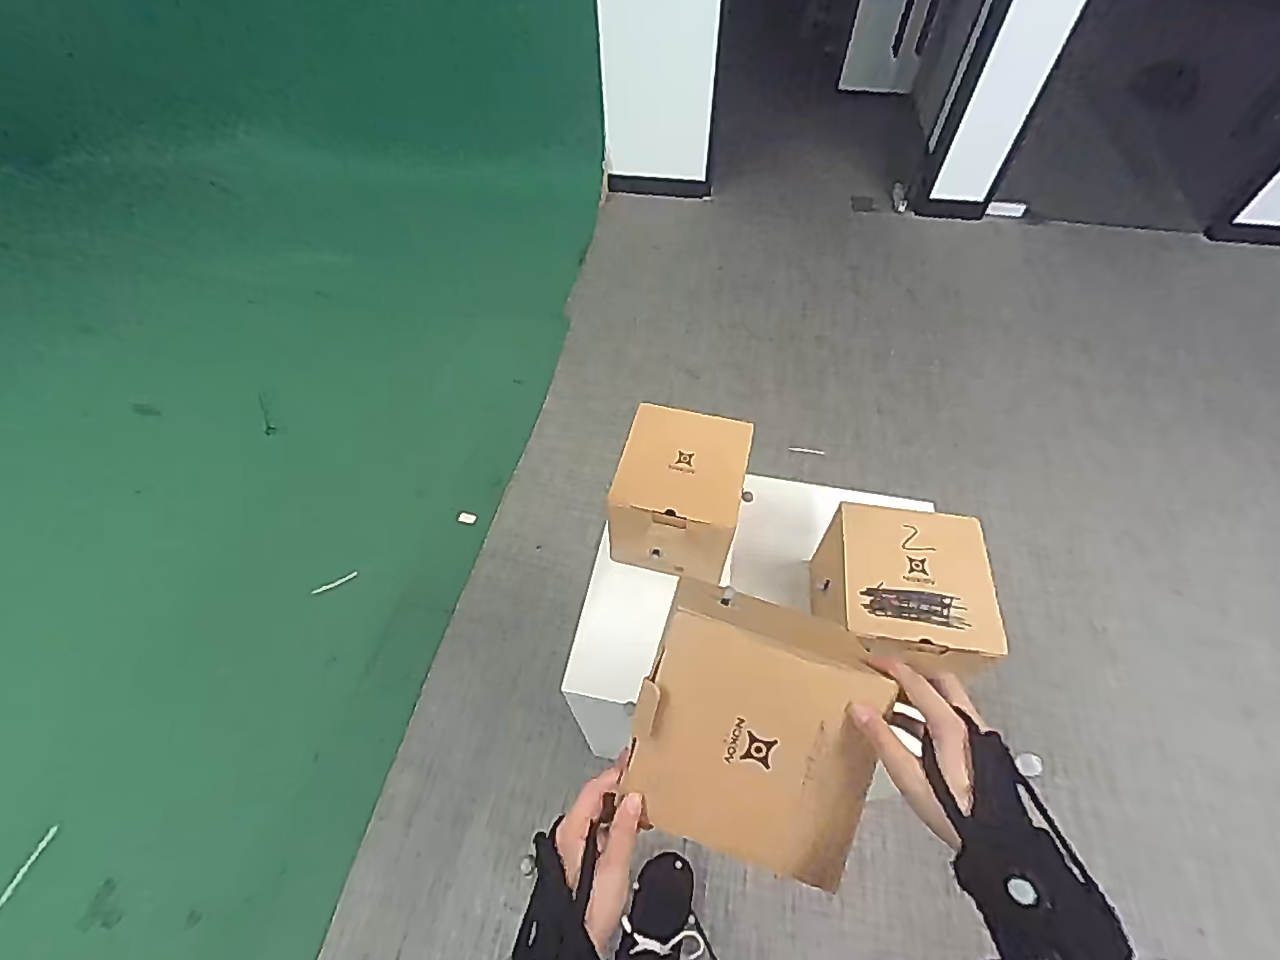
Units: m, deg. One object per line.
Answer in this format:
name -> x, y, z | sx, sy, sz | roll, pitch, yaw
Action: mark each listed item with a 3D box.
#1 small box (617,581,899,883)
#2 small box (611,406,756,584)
small box -> 0.094, 0.199, 0.486 | 0.179, 0.176, 0.168 | 16, 91, 5
small box -> 0.060, 0.026, 0.778 | 0.168, 0.176, 0.179 | 12, 57, 8
